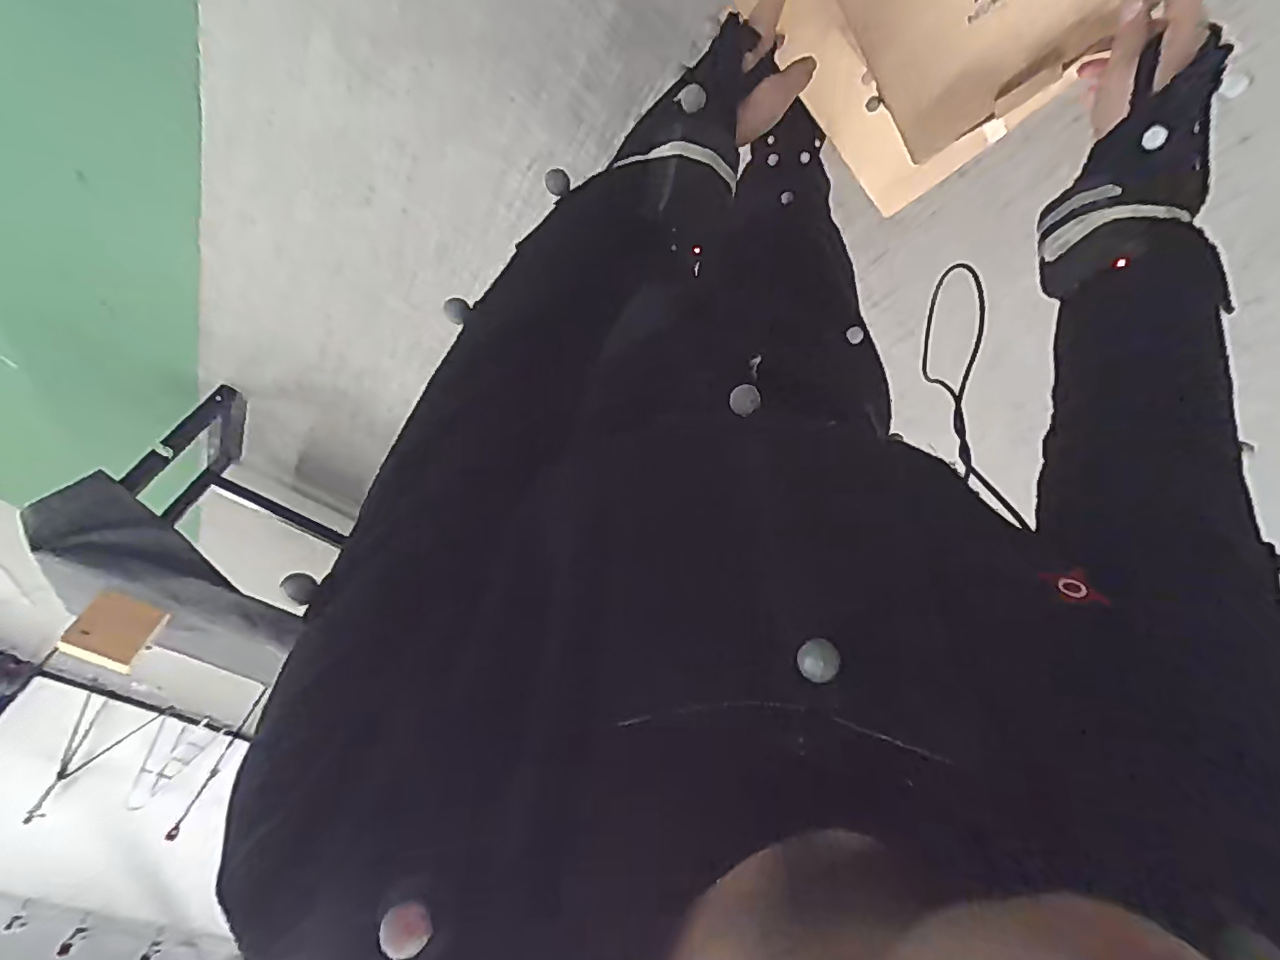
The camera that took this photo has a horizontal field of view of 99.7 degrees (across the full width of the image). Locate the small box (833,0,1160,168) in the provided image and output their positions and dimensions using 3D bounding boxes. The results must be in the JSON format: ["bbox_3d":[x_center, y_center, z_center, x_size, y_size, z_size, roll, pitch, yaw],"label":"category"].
[{"bbox_3d":[0.254,-0.402,0.427,0.168,0.176,0.179,-27,126,36],"label":"small box"}]

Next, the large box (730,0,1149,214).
[{"bbox_3d":[0.359,-0.669,0.720,0.408,0.320,0.320,36,137,-25],"label":"large box"}]

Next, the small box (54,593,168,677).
[{"bbox_3d":[-1.523,0.450,1.567,0.179,0.176,0.168,38,136,-24],"label":"small box"}]
